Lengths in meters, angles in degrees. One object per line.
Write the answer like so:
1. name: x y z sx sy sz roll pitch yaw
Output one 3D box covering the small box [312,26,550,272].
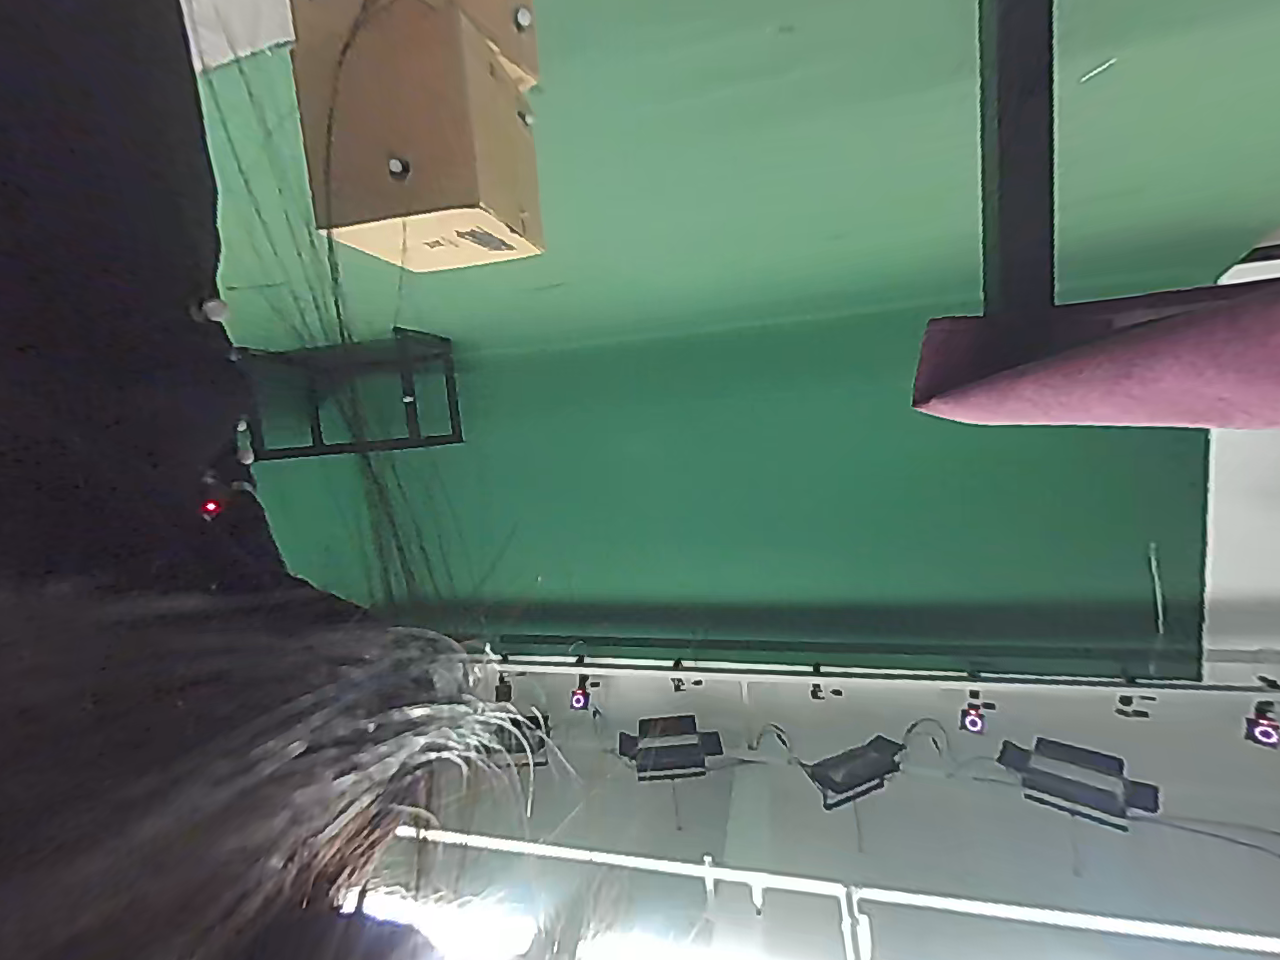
1. small box: -0.212 -0.336 0.577 0.179 0.176 0.168 -2 -173 11
